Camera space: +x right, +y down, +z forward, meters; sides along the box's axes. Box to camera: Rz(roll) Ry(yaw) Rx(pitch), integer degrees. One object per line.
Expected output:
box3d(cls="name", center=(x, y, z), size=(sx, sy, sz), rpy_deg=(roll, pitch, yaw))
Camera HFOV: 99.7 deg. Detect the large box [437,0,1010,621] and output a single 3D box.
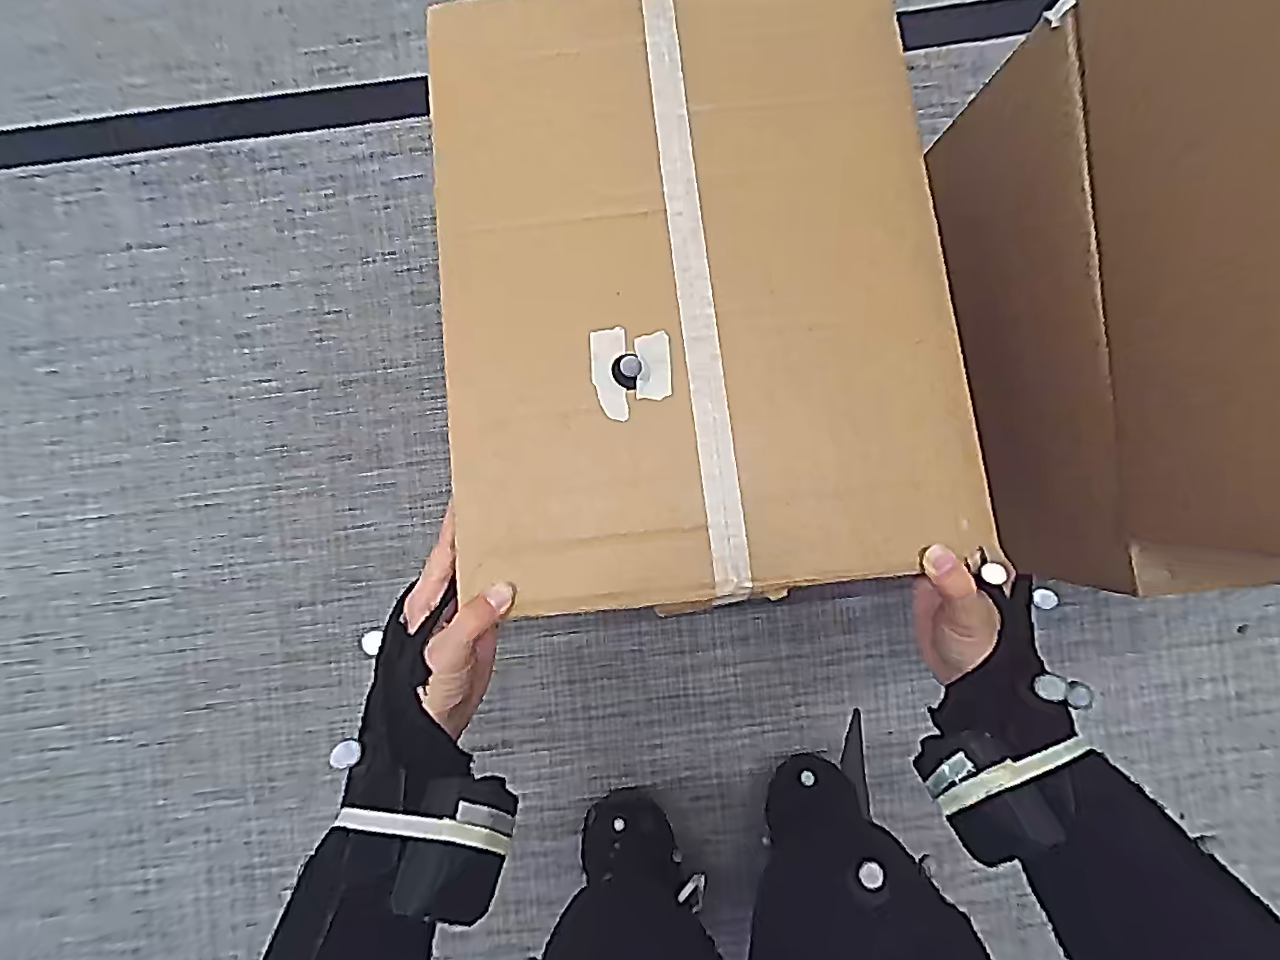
box3d(cls="large box", center=(0.040, -0.113, 0.486), size=(0.320, 0.320, 0.408), rpy_deg=(-7, 82, 0))
